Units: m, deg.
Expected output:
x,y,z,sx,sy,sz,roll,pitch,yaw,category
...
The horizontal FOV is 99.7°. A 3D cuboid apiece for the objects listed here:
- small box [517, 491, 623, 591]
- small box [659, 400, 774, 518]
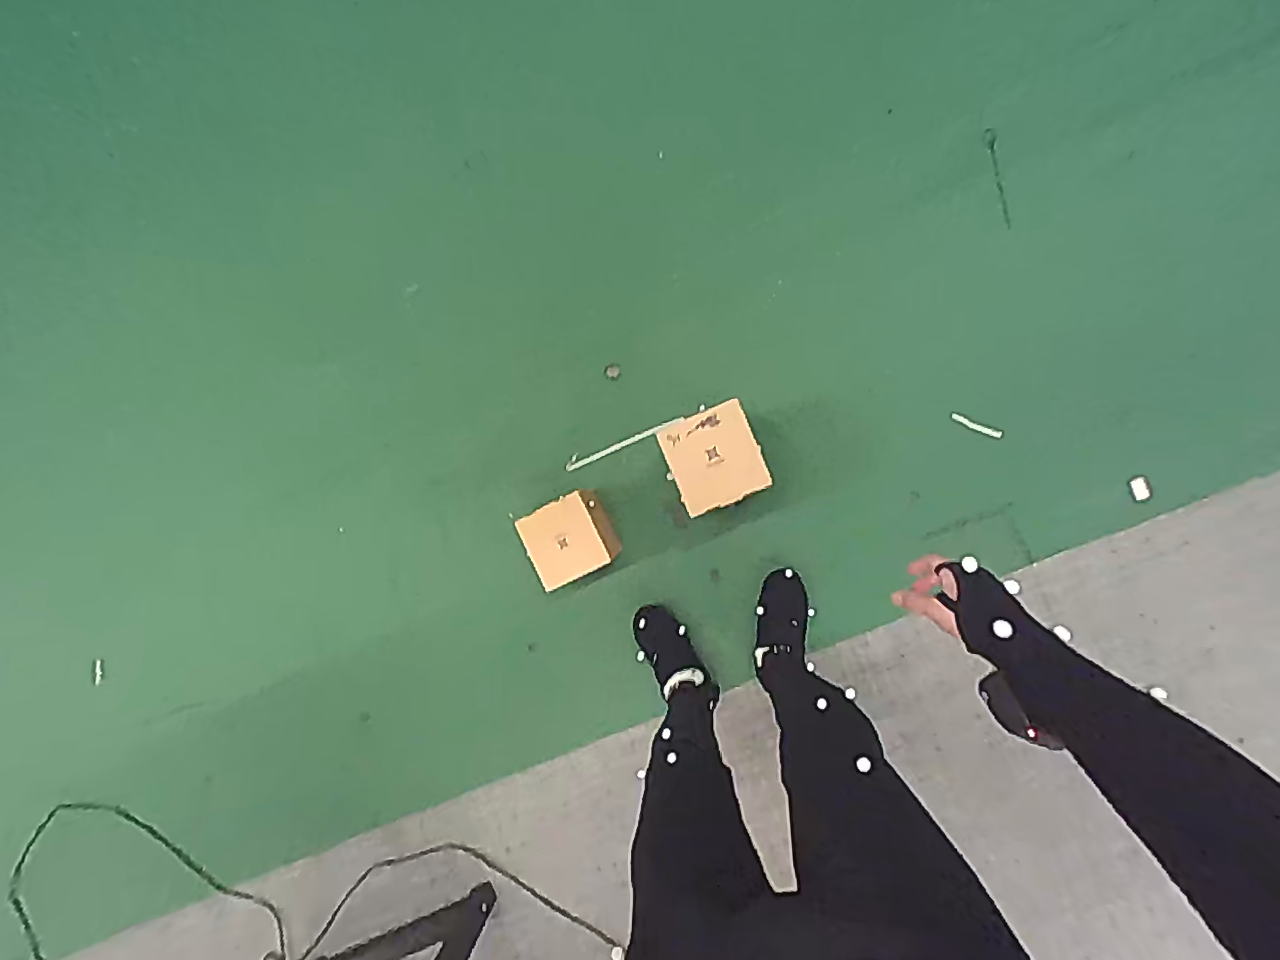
x,y,z,sx,sy,sz,roll,pitch,yaw,category
-0.155,0.135,1.271,0.168,0.176,0.179,-27,86,6,small box
0.149,-0.042,1.067,0.168,0.176,0.179,-22,89,5,small box
